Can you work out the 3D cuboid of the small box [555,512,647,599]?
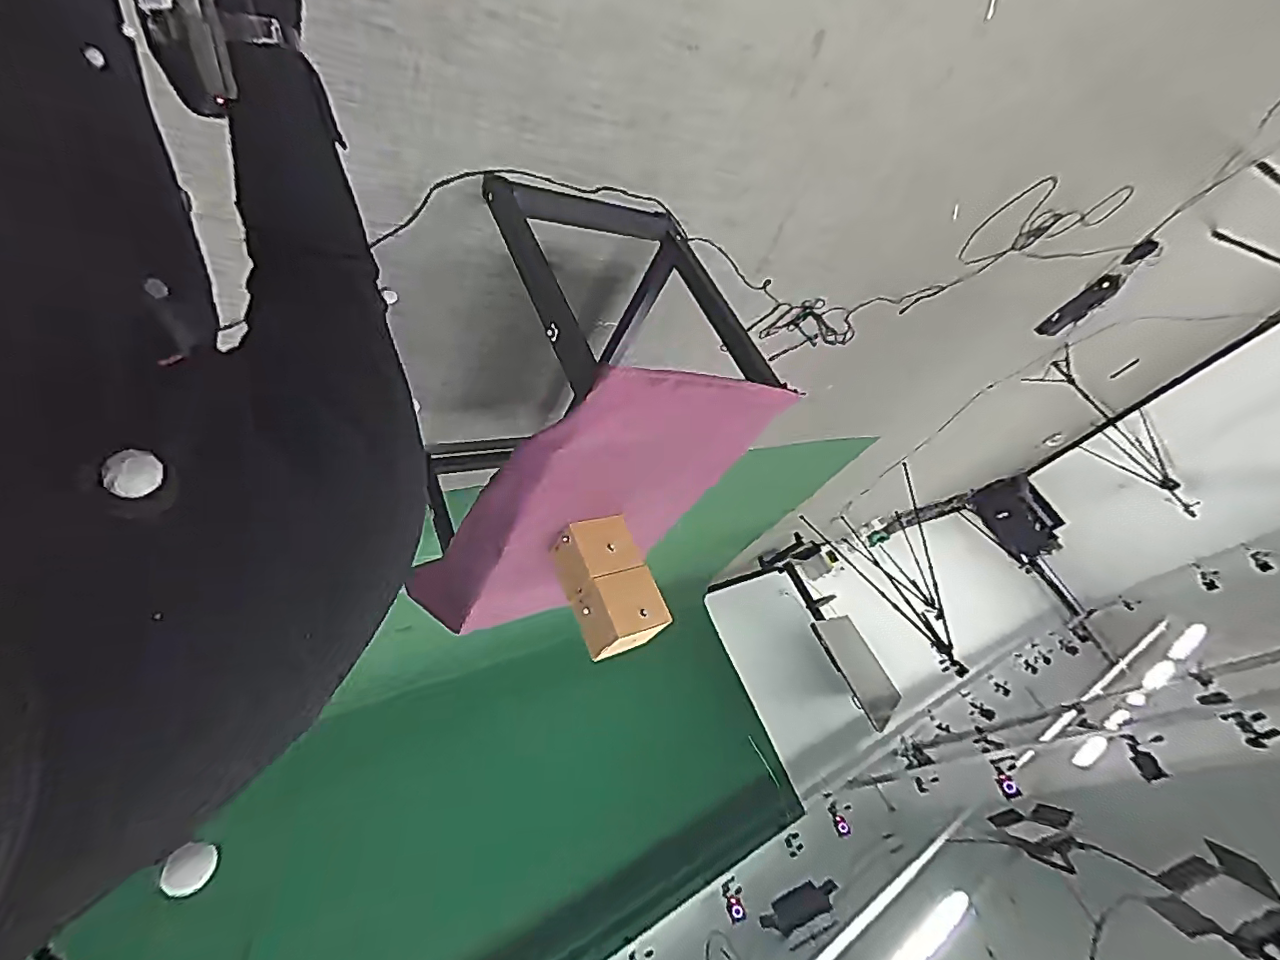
[{"bbox_3d":[-0.117,0.206,1.511,0.179,0.176,0.168,-8,150,-37],"label":"small box"}]

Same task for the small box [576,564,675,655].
[{"bbox_3d":[-0.044,0.340,1.448,0.179,0.176,0.168,-7,149,-36],"label":"small box"}]
